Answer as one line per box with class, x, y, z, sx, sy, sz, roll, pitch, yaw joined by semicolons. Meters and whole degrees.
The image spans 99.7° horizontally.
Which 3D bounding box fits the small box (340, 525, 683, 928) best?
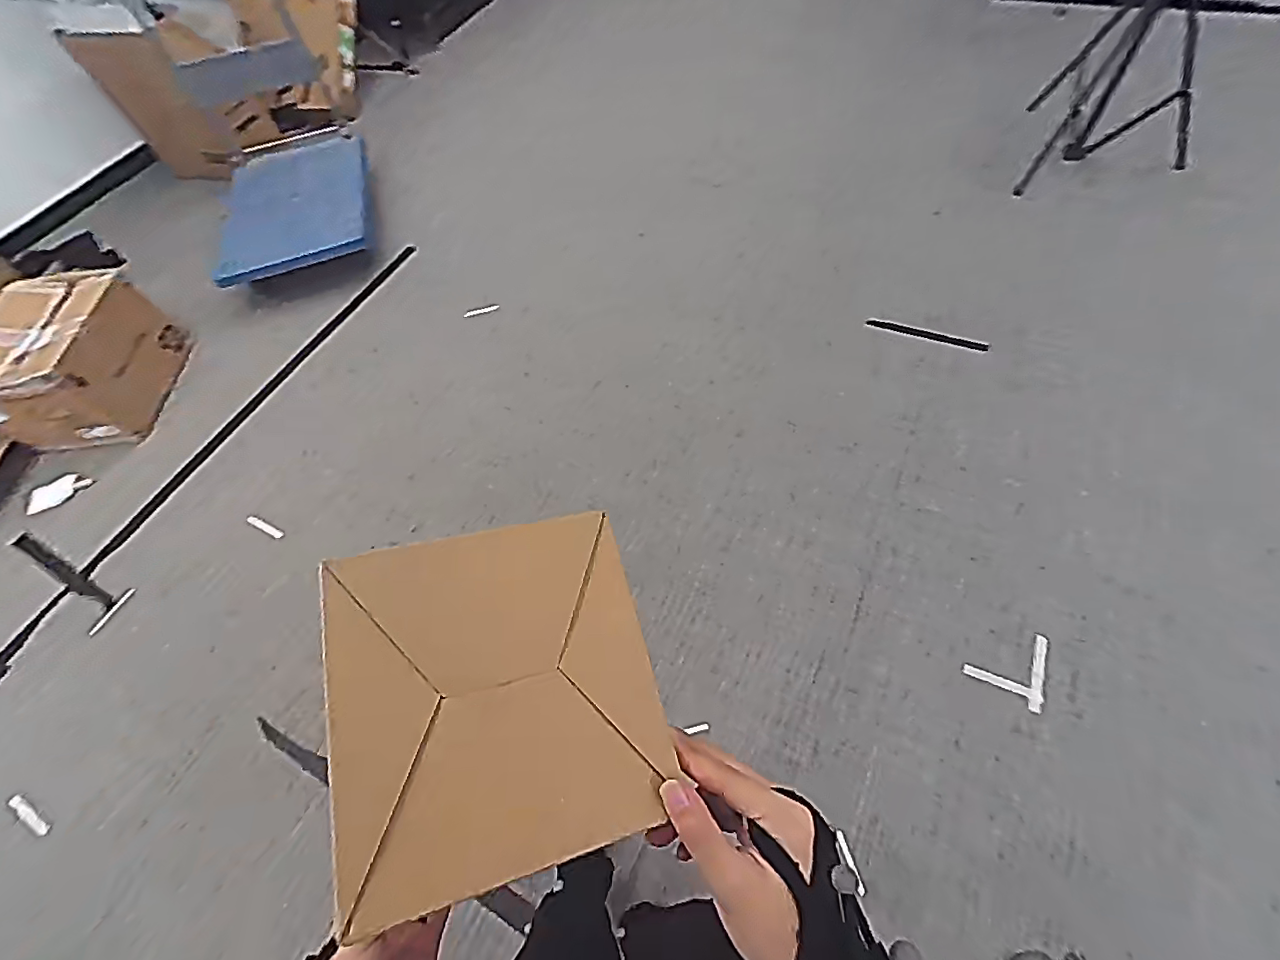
small box;-0.086;0.146;0.357;0.168;0.176;0.179;-8;64;-19
